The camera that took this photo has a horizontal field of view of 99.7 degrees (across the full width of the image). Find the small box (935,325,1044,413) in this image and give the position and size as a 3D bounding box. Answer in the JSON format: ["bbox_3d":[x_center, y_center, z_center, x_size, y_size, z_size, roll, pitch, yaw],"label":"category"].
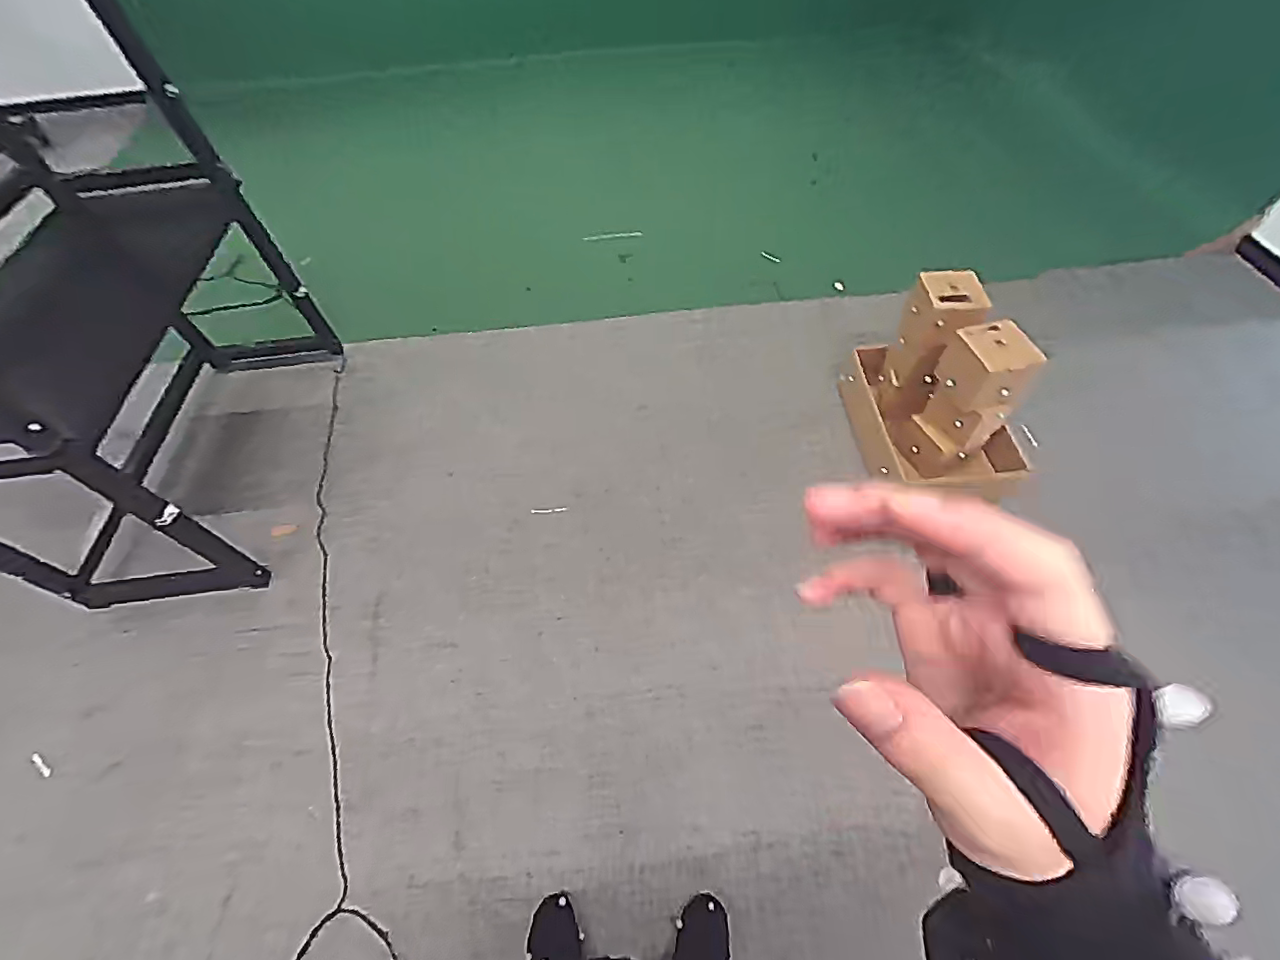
[{"bbox_3d":[0.984,-0.308,1.540,0.168,0.176,0.179,-11,55,-3],"label":"small box"}]

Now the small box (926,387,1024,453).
[{"bbox_3d":[1.021,-0.214,1.672,0.179,0.176,0.168,-27,57,-15],"label":"small box"}]

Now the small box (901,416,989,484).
[{"bbox_3d":[1.000,-0.110,1.799,0.179,0.176,0.168,-18,55,-9],"label":"small box"}]
